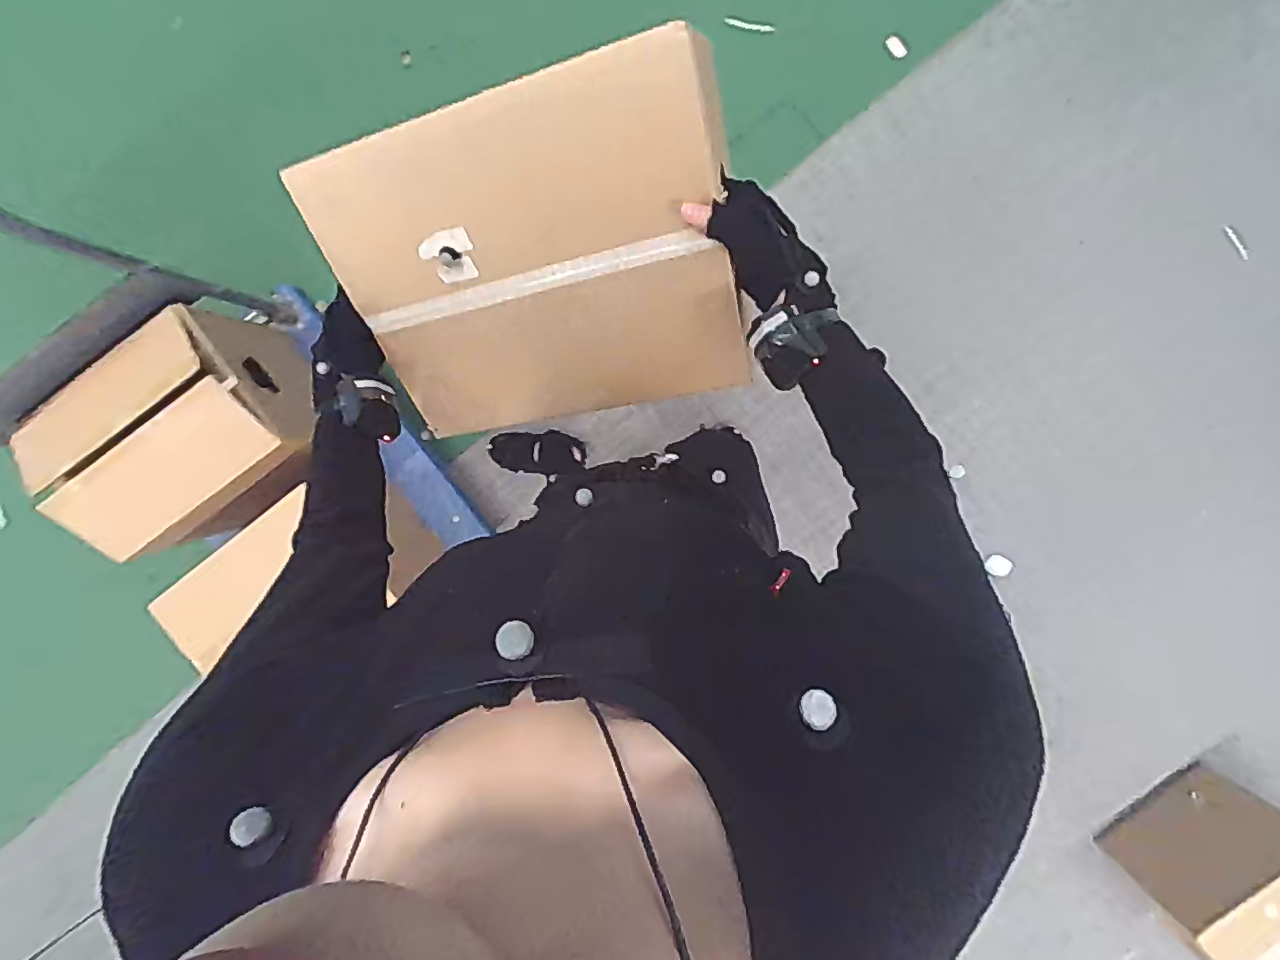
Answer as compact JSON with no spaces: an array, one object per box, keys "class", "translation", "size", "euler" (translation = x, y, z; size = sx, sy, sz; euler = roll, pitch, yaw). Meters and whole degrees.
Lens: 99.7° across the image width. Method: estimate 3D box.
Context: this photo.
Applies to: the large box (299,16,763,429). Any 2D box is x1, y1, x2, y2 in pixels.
[{"class":"large box","translation":[-0.075,-0.296,0.655],"size":[0.408,0.320,0.320],"euler":[-6,126,17]}]
